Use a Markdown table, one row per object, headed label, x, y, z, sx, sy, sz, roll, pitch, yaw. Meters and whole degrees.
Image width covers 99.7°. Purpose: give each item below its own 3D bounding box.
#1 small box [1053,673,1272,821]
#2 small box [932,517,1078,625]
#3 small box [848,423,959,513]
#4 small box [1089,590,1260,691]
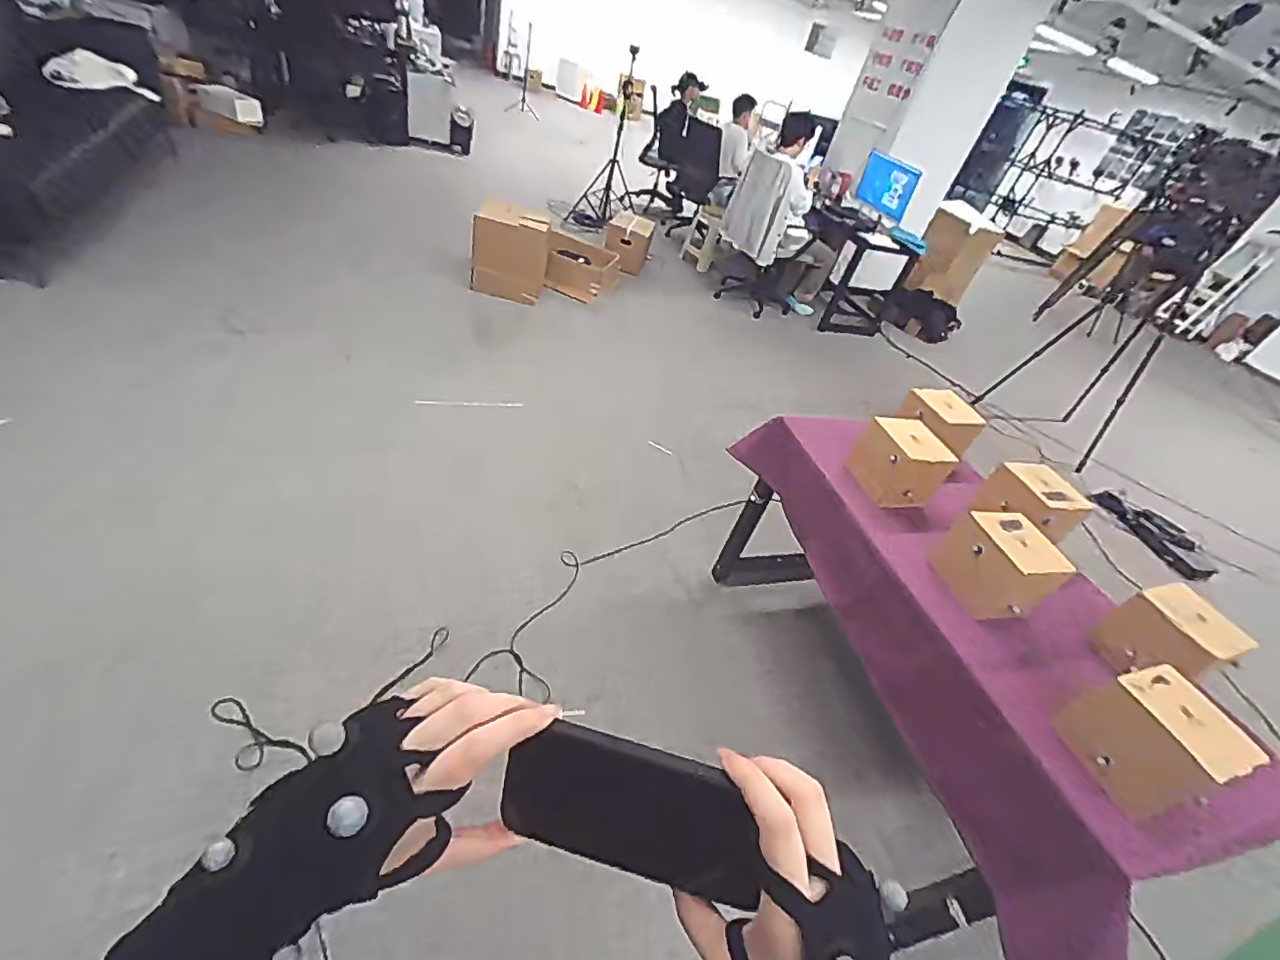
| label | x | y | z | sx | sy | sz | roll | pitch | yaw |
| --- | --- | --- | --- | --- | --- | --- | --- | --- | --- |
| small box | 0.891 | 0.467 | 0.941 | 0.168 | 0.176 | 0.179 | 0 | 42 | -22 |
| small box | 0.807 | 0.205 | 1.218 | 0.168 | 0.176 | 0.179 | 2 | 42 | -19 |
| small box | 0.699 | -0.031 | 1.457 | 0.168 | 0.176 | 0.179 | 1 | 43 | -20 |
| small box | 1.133 | 0.359 | 1.163 | 0.179 | 0.176 | 0.168 | -2 | 43 | -23 |
